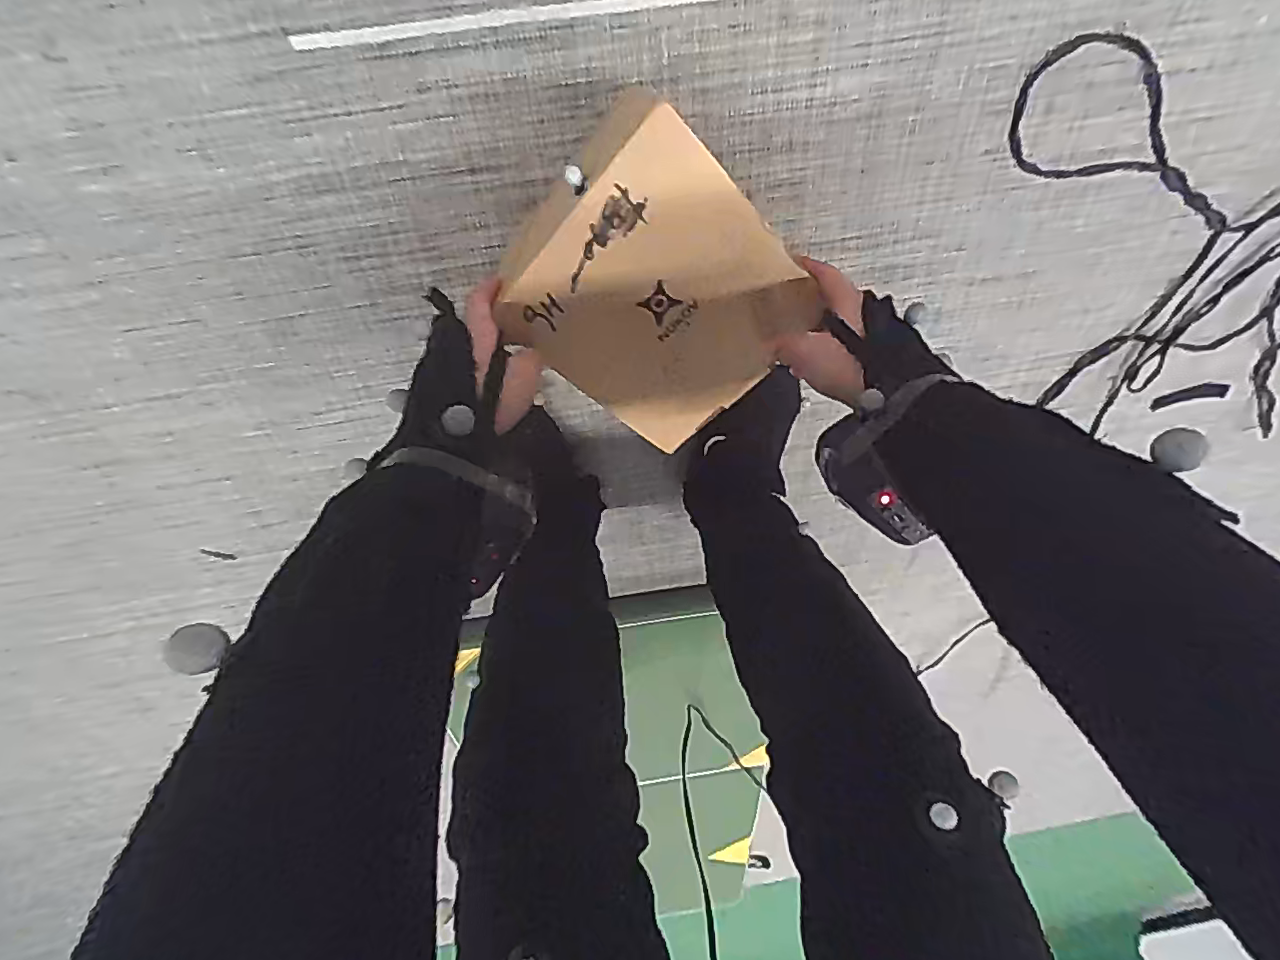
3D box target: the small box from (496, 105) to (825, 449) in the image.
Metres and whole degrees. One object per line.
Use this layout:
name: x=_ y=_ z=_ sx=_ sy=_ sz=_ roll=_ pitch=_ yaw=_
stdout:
small box: x=0.010 y=-0.165 z=0.436 sx=0.179 sy=0.176 sz=0.168 roll=35 pitch=115 yaw=-30
